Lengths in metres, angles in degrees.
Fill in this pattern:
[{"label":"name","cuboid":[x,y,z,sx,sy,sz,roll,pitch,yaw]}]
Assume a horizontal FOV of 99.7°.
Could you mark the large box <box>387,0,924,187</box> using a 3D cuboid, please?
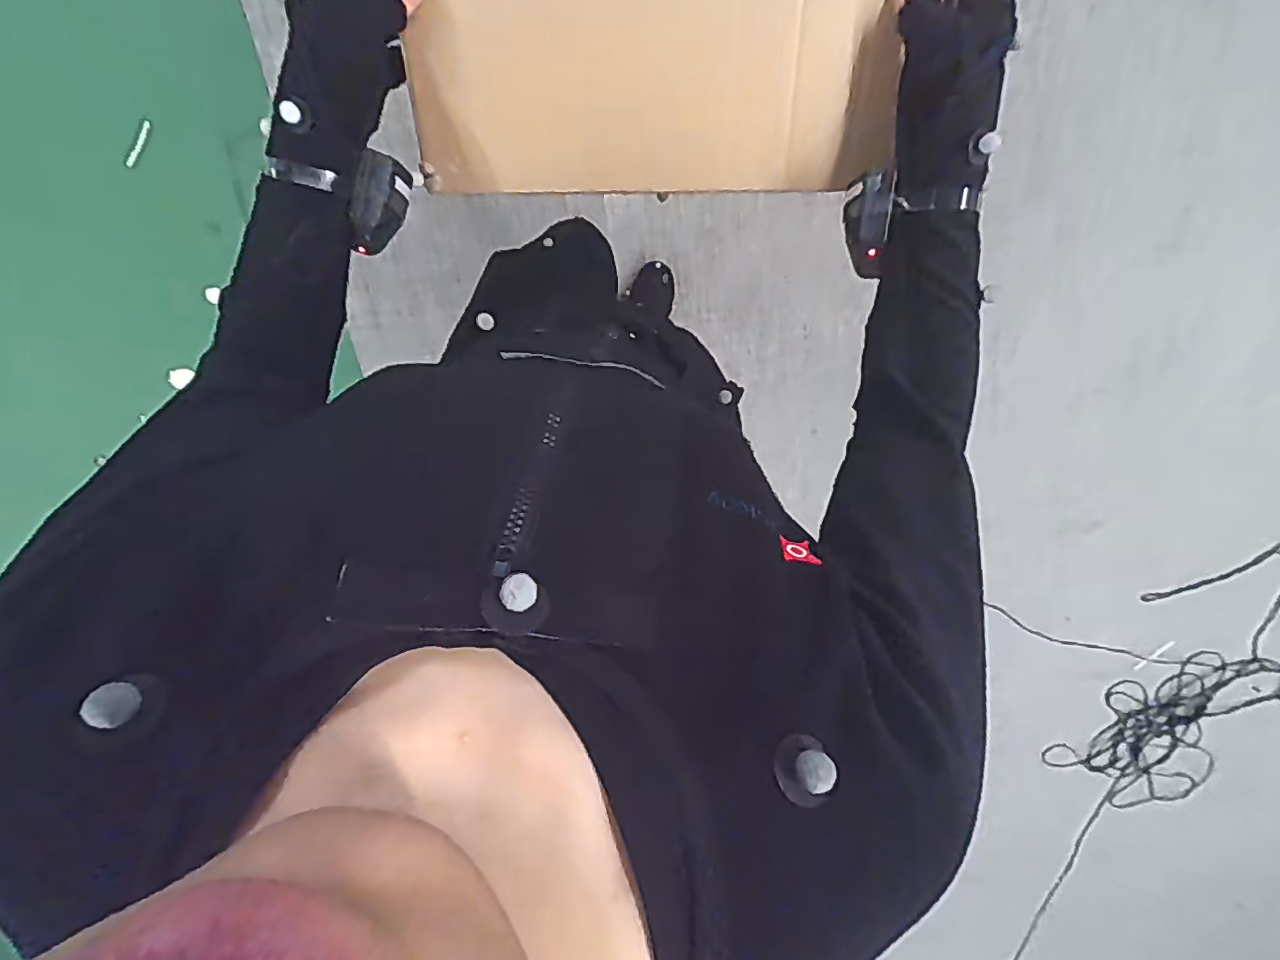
[{"label":"large box","cuboid":[0.017,-0.464,0.505,0.408,0.320,0.320,1,121,3]}]
